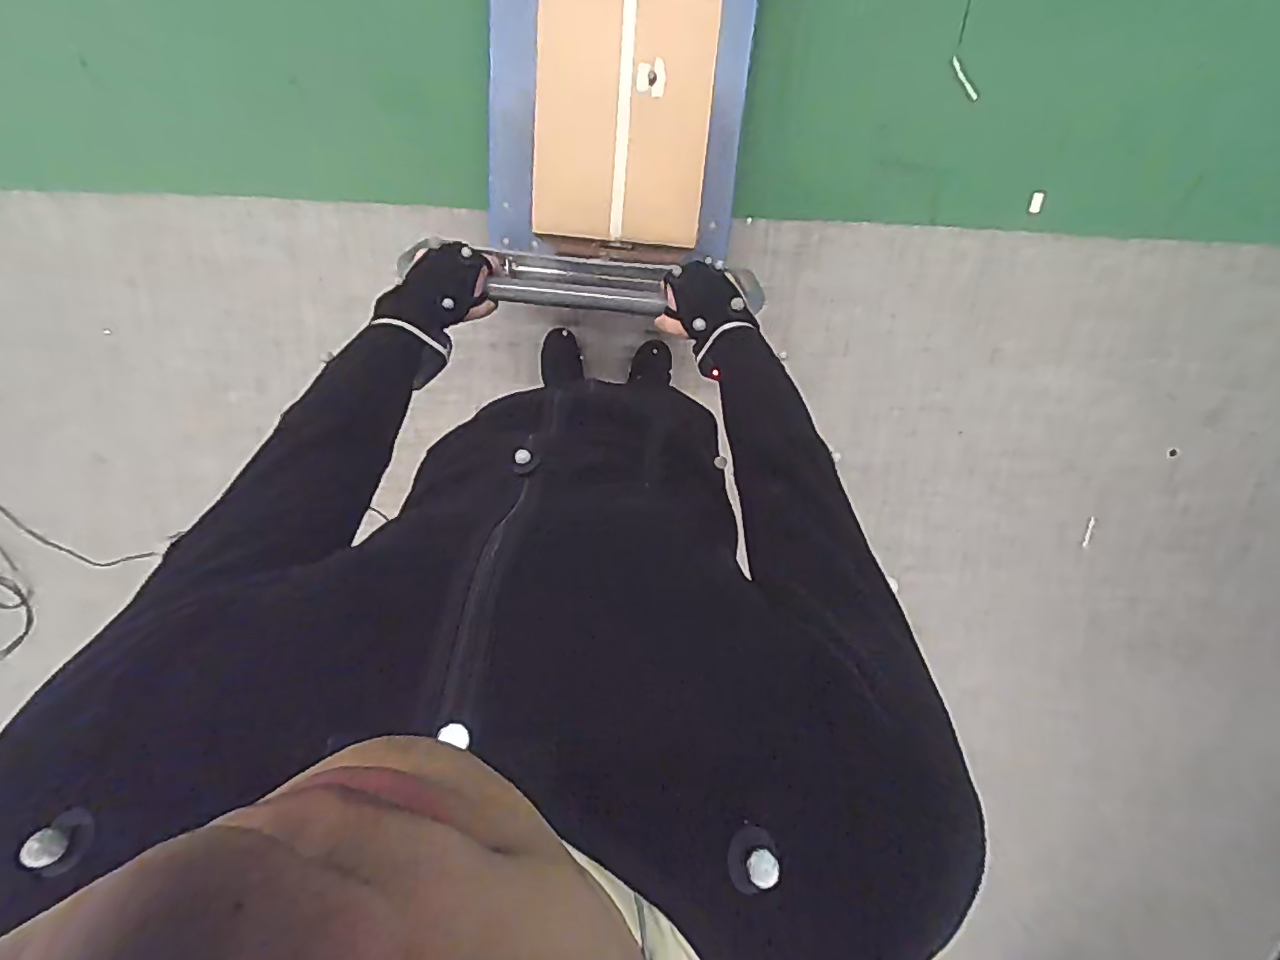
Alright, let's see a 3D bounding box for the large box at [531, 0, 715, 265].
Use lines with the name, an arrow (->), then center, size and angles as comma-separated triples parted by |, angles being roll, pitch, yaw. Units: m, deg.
large box -> -0.038, -0.680, 1.114 | 0.320, 0.320, 0.408 | 4, 106, -3
